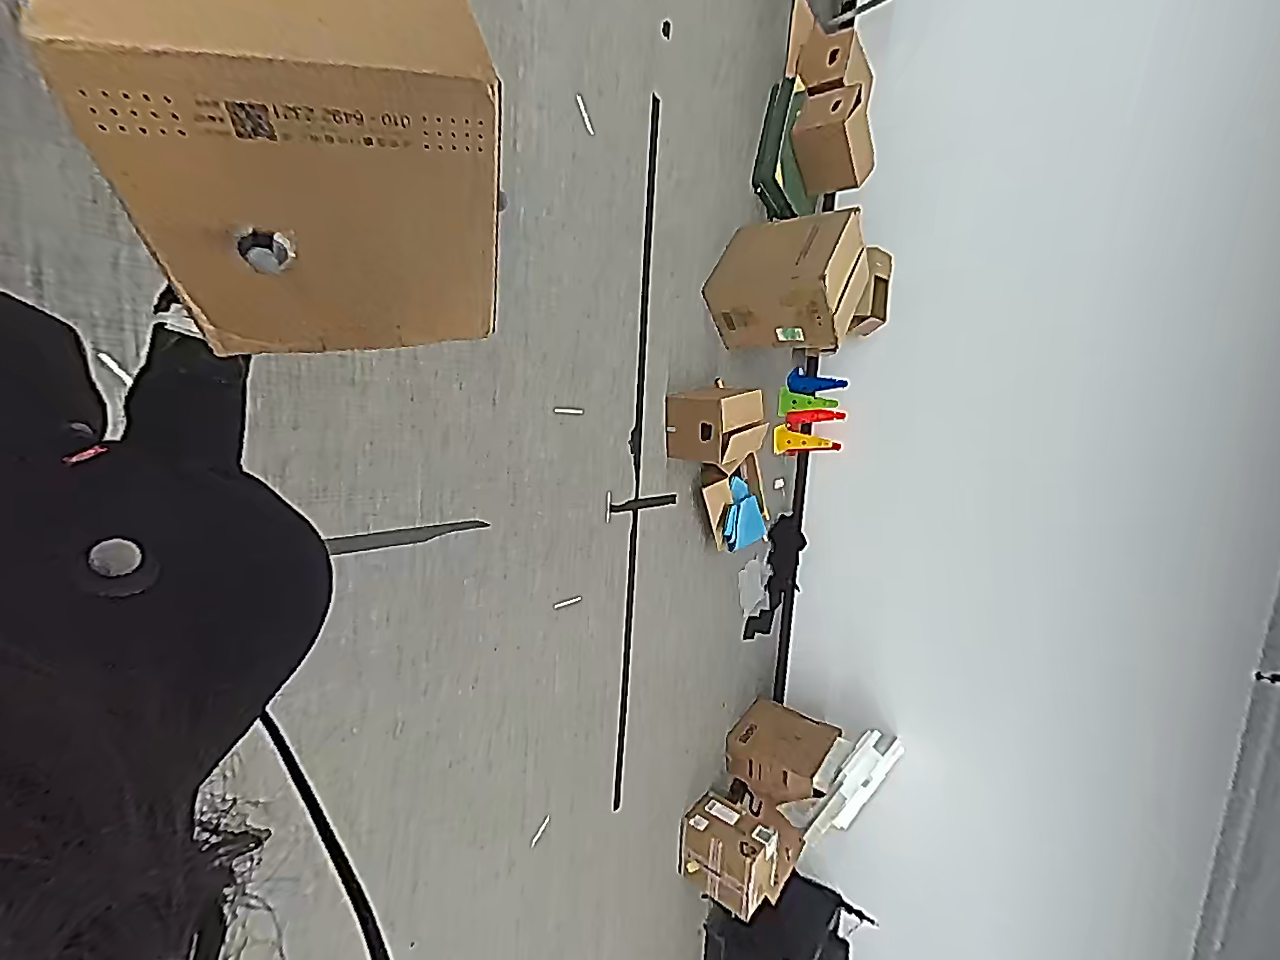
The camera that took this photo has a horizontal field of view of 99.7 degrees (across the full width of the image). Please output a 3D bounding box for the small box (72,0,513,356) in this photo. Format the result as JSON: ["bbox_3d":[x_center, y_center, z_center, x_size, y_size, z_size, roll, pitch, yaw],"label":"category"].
[{"bbox_3d":[-0.175,-0.199,0.314,0.168,0.176,0.179,-10,64,-24],"label":"small box"}]
